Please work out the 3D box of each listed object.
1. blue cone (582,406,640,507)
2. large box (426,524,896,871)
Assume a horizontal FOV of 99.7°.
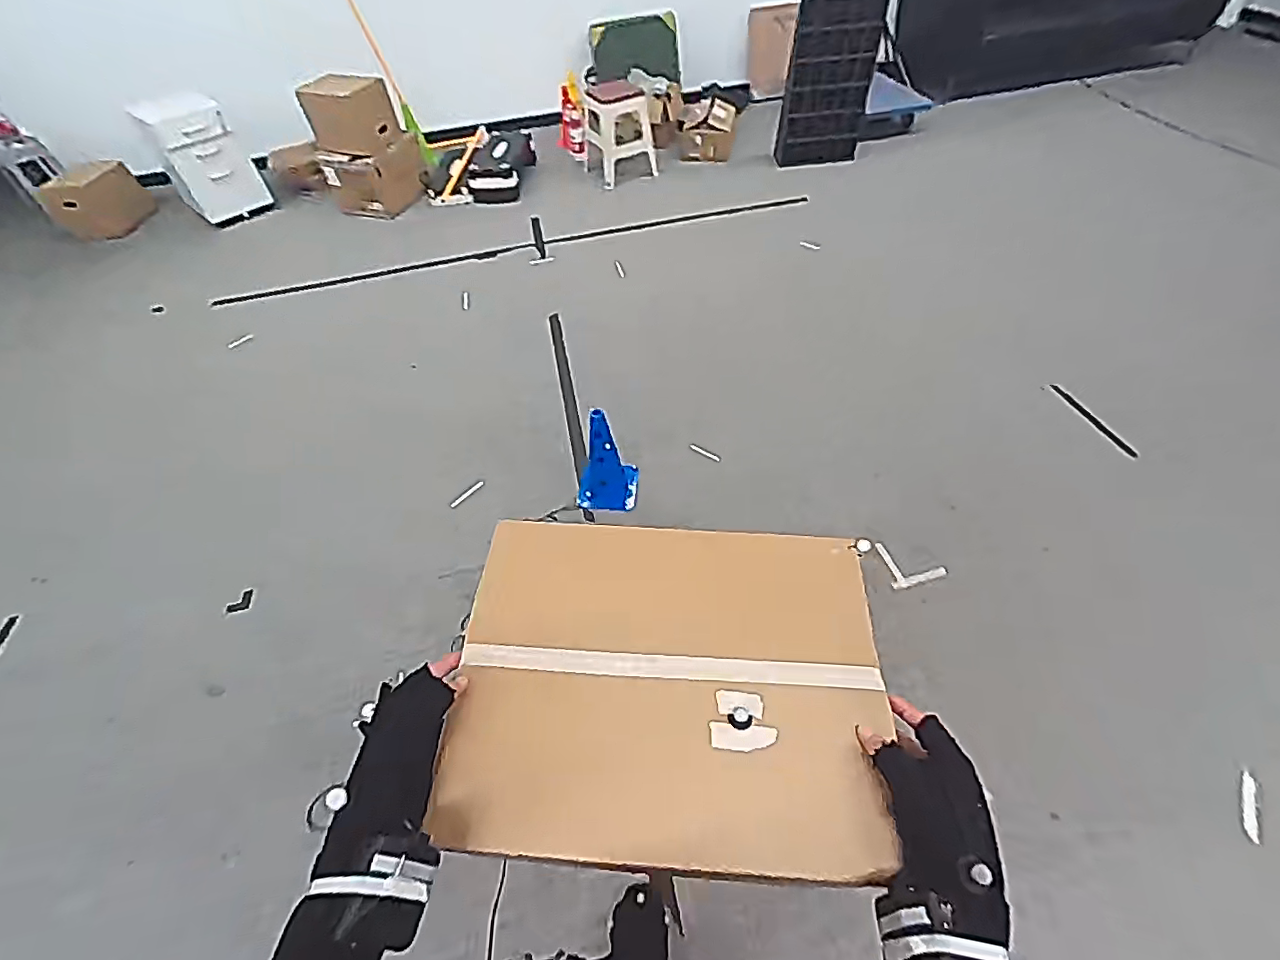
[{"bbox_3d":[-0.111,-0.088,1.788,0.193,0.380,0.192,5,51,8],"label":"blue cone"},{"bbox_3d":[0.022,0.271,0.657,0.408,0.320,0.320,3,54,3],"label":"large box"}]
